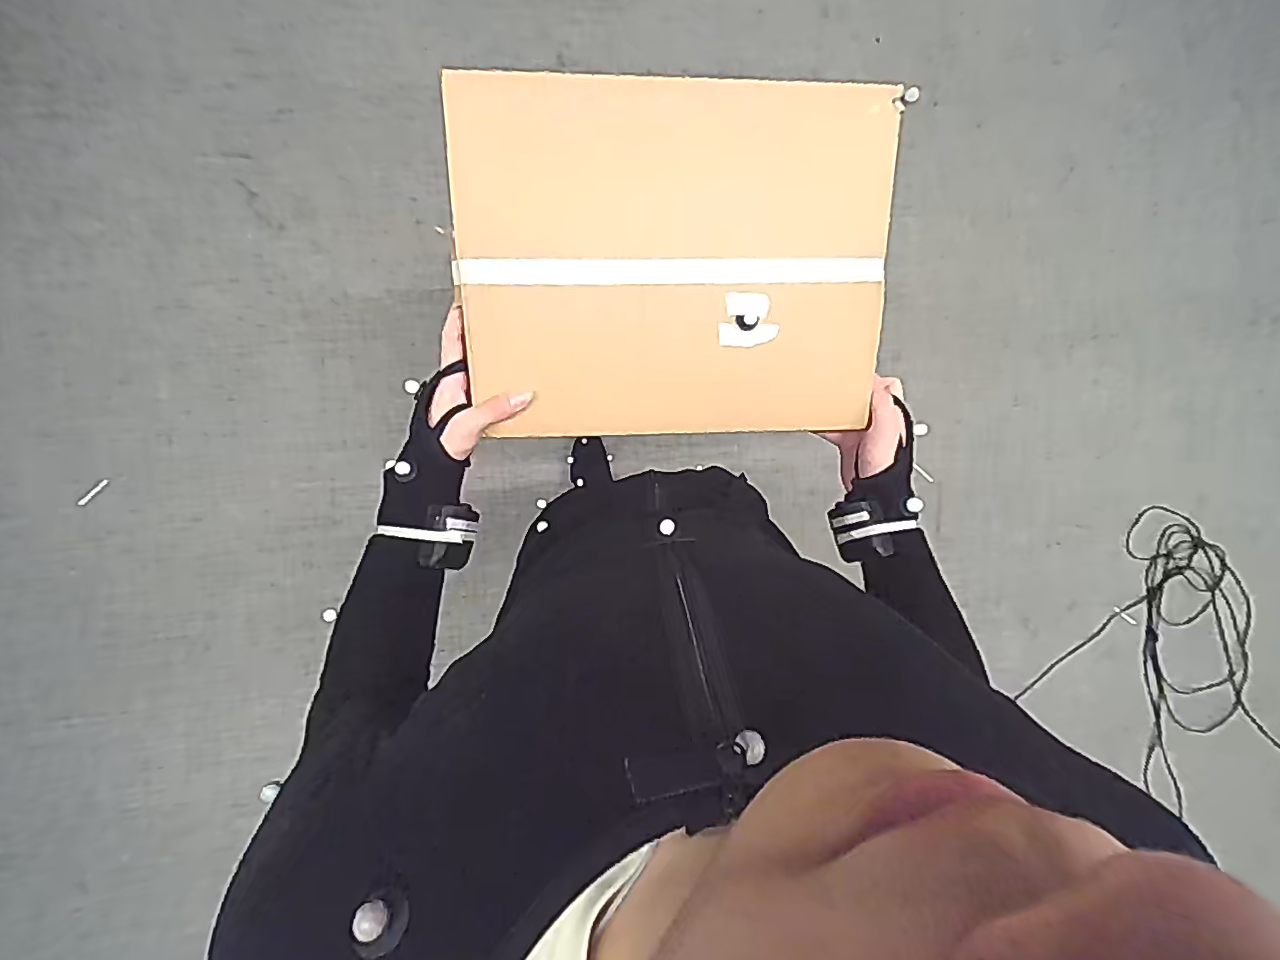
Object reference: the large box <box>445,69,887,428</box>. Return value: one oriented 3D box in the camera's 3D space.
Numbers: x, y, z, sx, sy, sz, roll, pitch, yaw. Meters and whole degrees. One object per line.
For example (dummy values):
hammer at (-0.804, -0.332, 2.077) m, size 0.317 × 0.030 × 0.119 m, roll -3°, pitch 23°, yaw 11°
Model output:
large box at (0.017, -0.250, 0.659) m, size 0.408 × 0.320 × 0.320 m, roll -3°, pitch 107°, yaw -6°
